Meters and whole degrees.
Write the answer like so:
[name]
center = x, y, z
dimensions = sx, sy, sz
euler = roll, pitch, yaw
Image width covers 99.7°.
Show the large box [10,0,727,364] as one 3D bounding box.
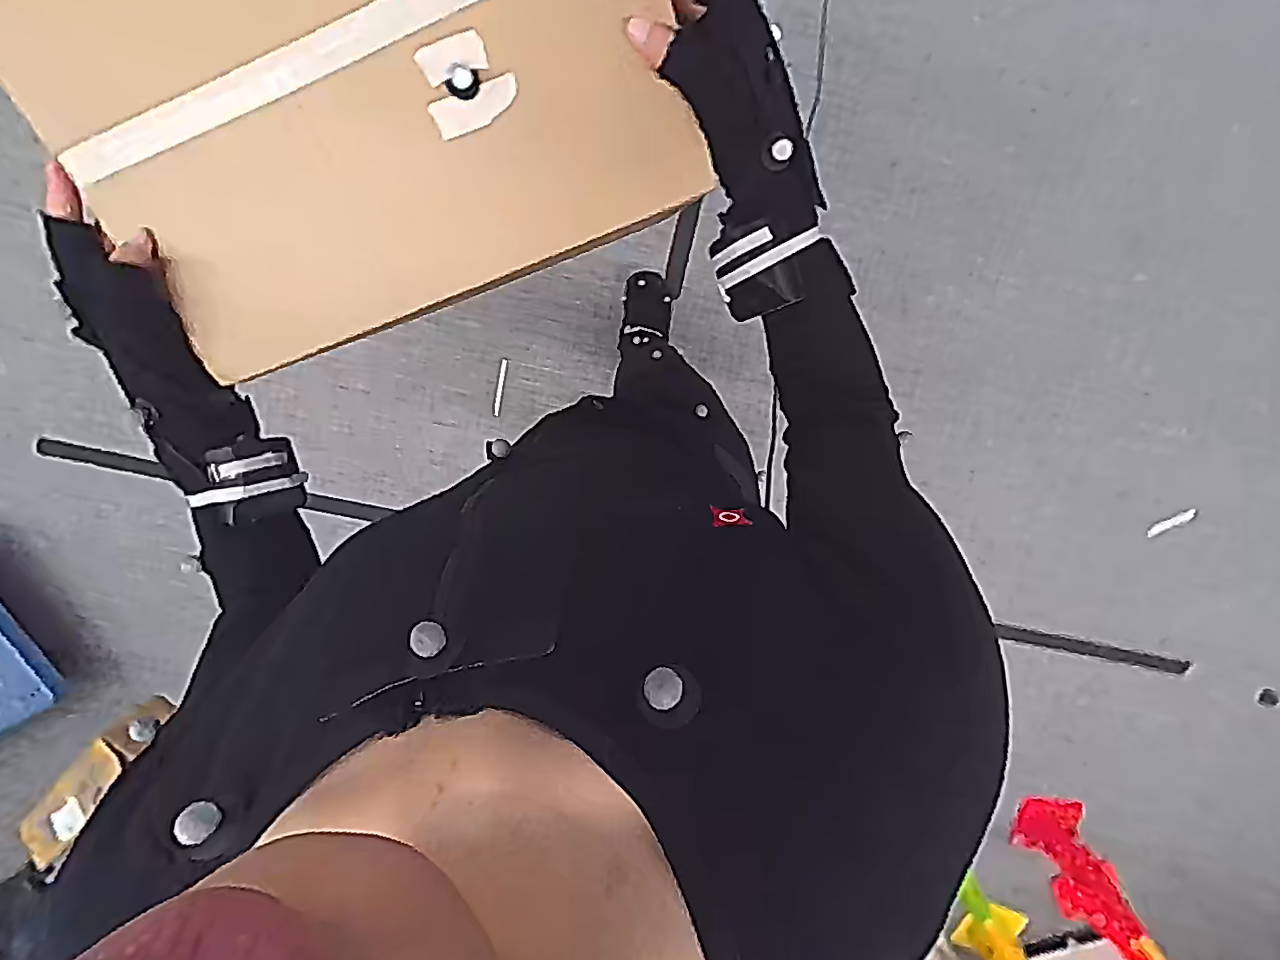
[large box]
center = -0.180, -0.340, 0.483
dimensions = 0.408, 0.320, 0.320
euler = -19, 113, 5
